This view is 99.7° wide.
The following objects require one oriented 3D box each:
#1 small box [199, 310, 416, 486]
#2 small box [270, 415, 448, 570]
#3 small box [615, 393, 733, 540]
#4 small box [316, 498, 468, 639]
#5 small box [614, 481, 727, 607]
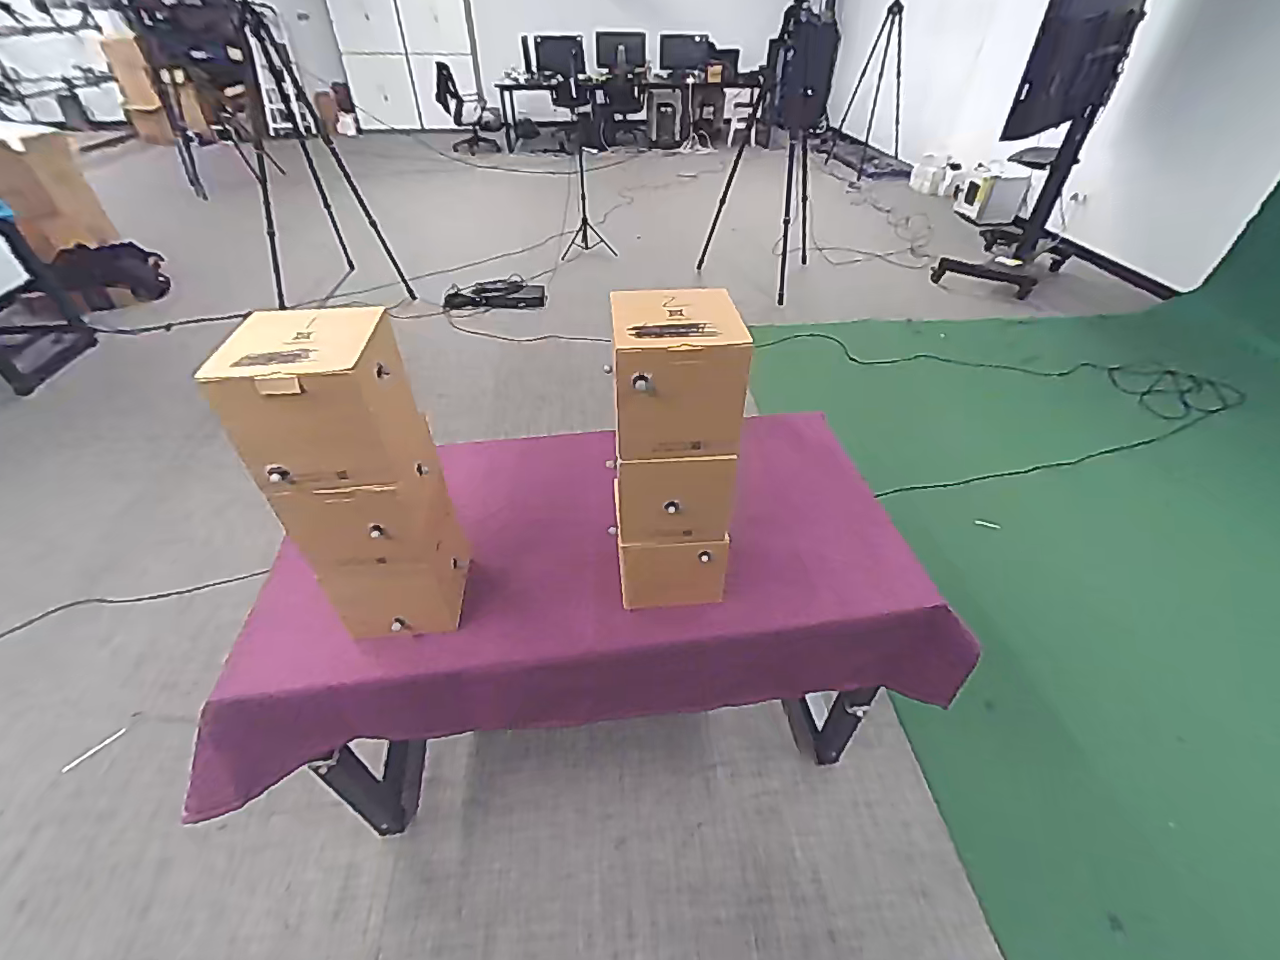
[{"bbox_3d":[-0.409,-0.104,0.707,0.168,0.176,0.179,-5,40,-6],"label":"small box"},{"bbox_3d":[-0.401,0.023,0.812,0.168,0.176,0.179,-3,40,-3],"label":"small box"},{"bbox_3d":[0.046,-0.018,0.853,0.168,0.176,0.179,-2,41,-2],"label":"small box"},{"bbox_3d":[-0.401,0.150,0.915,0.179,0.176,0.168,-4,41,-5],"label":"small box"},{"bbox_3d":[0.048,0.110,0.957,0.179,0.176,0.168,-3,41,-4],"label":"small box"}]
